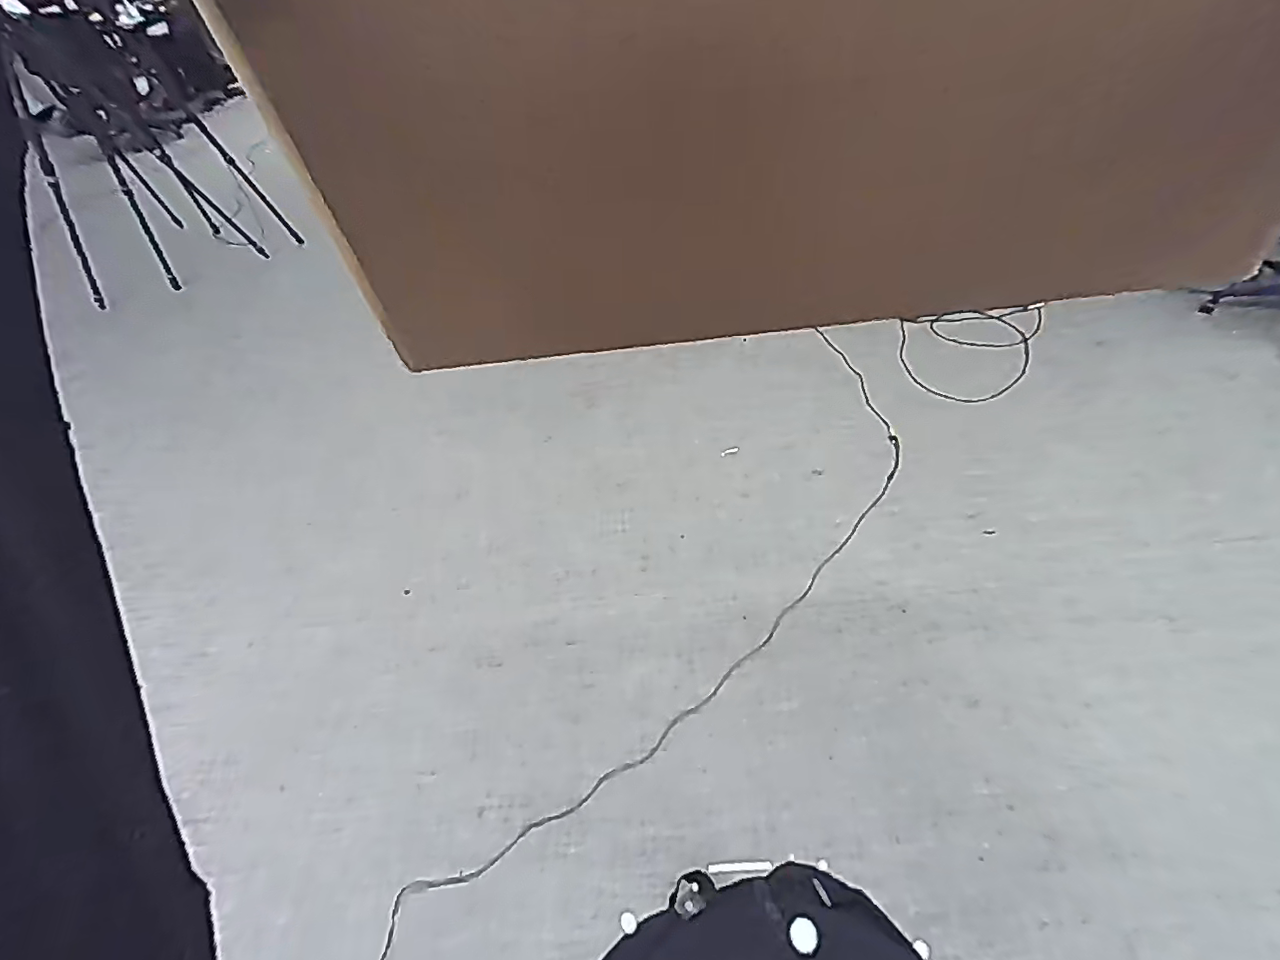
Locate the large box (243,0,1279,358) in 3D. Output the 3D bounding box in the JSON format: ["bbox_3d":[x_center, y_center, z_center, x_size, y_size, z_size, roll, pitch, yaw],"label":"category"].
[{"bbox_3d":[0.057,-0.289,0.255,0.408,0.320,0.320,-6,51,2],"label":"large box"}]
